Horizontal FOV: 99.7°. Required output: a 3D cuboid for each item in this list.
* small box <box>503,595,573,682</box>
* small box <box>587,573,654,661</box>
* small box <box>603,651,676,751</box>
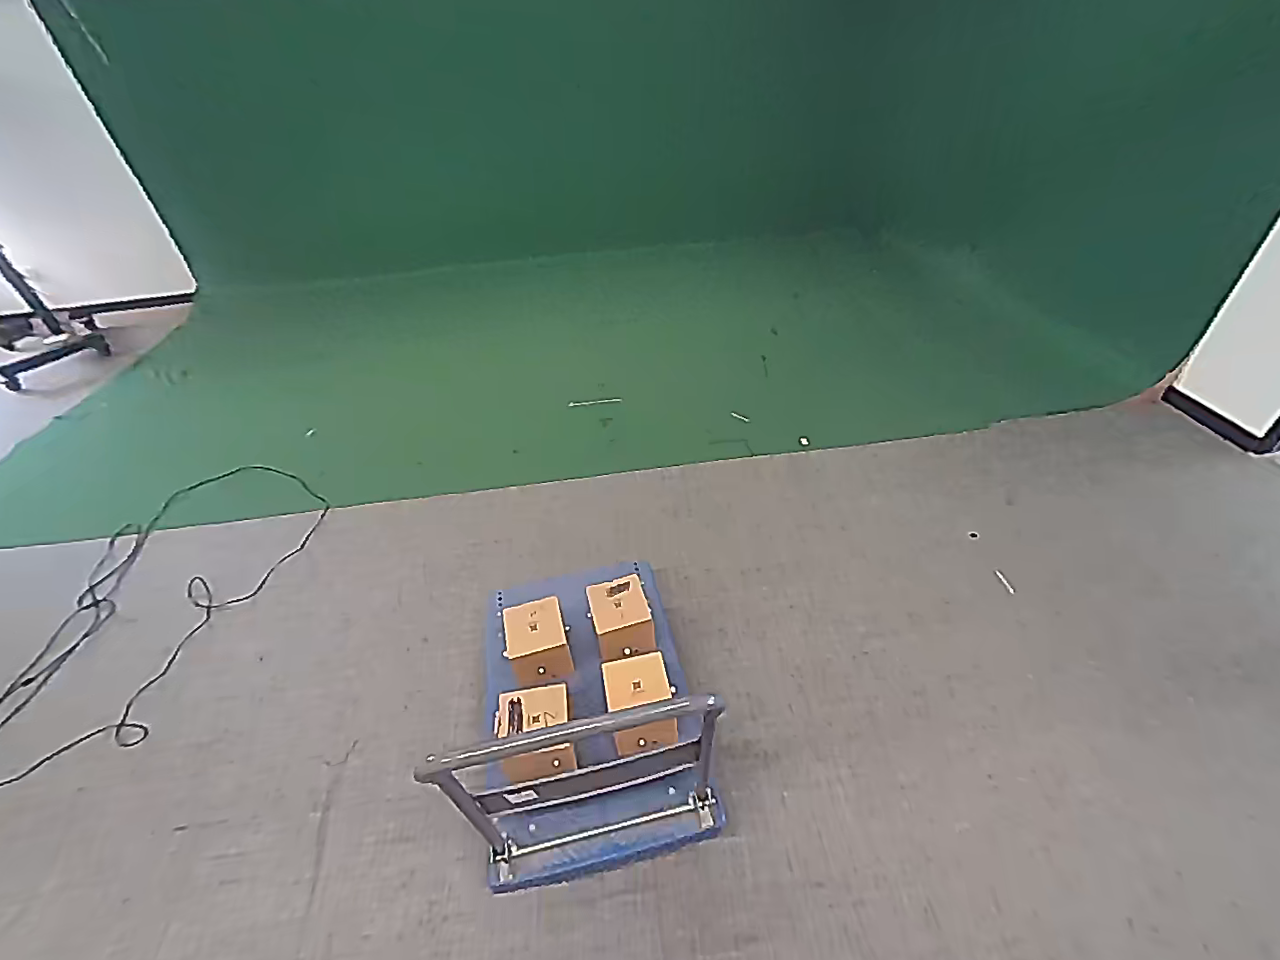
[{"bbox_3d":[-0.301,0.477,1.605,0.168,0.176,0.179,-12,42,-10],"label":"small box"},{"bbox_3d":[-0.059,0.418,1.646,0.168,0.176,0.179,-14,43,-9],"label":"small box"},{"bbox_3d":[-0.002,0.592,1.447,0.168,0.176,0.179,-10,42,-6],"label":"small box"}]
